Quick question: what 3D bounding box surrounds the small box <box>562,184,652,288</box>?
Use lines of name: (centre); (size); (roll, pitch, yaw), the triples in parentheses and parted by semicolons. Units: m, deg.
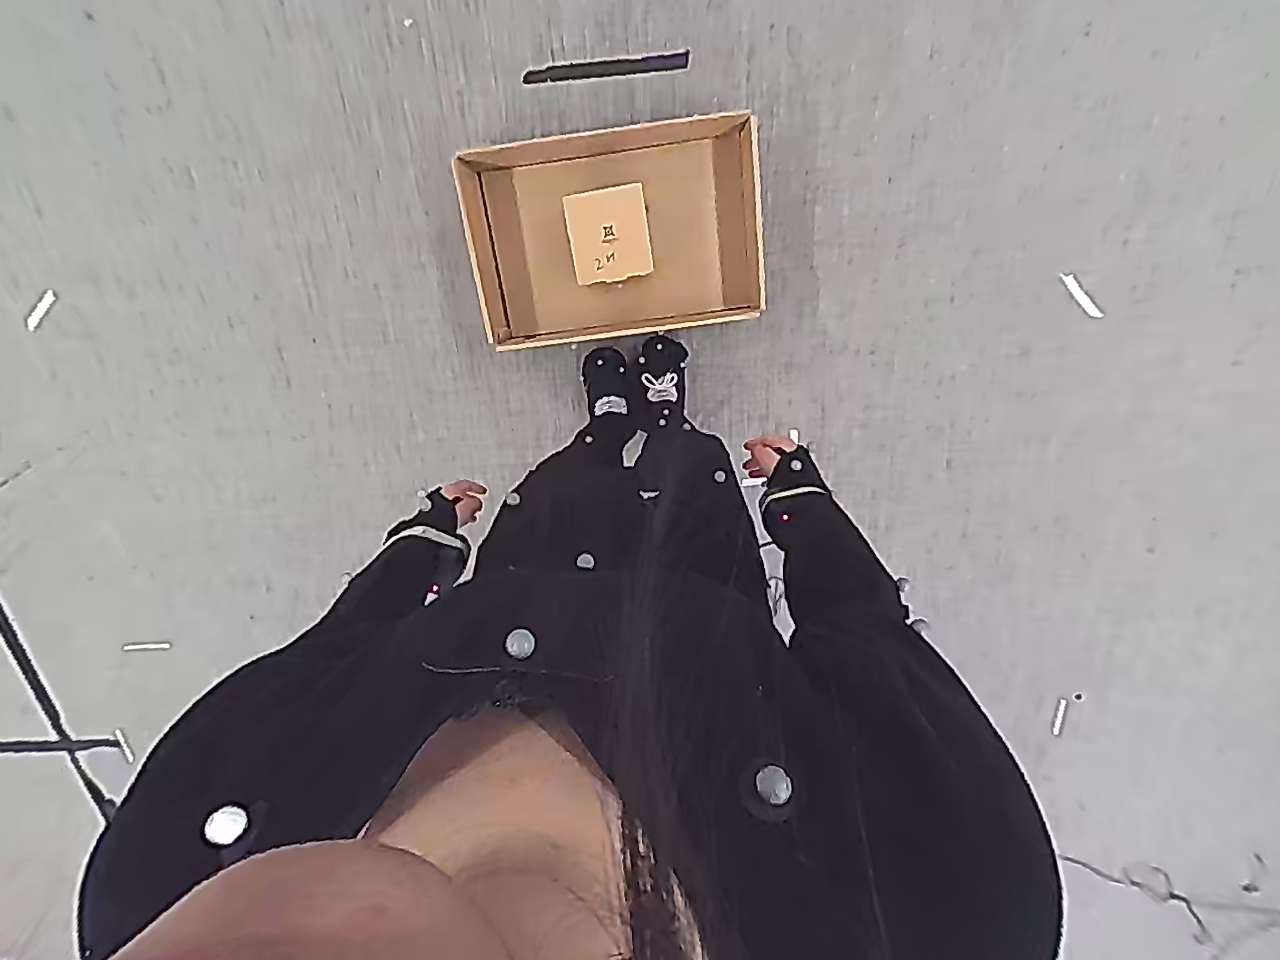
small box: (-0.067, -0.525, 1.186); (0.168, 0.176, 0.179); (-8, 109, 4)
